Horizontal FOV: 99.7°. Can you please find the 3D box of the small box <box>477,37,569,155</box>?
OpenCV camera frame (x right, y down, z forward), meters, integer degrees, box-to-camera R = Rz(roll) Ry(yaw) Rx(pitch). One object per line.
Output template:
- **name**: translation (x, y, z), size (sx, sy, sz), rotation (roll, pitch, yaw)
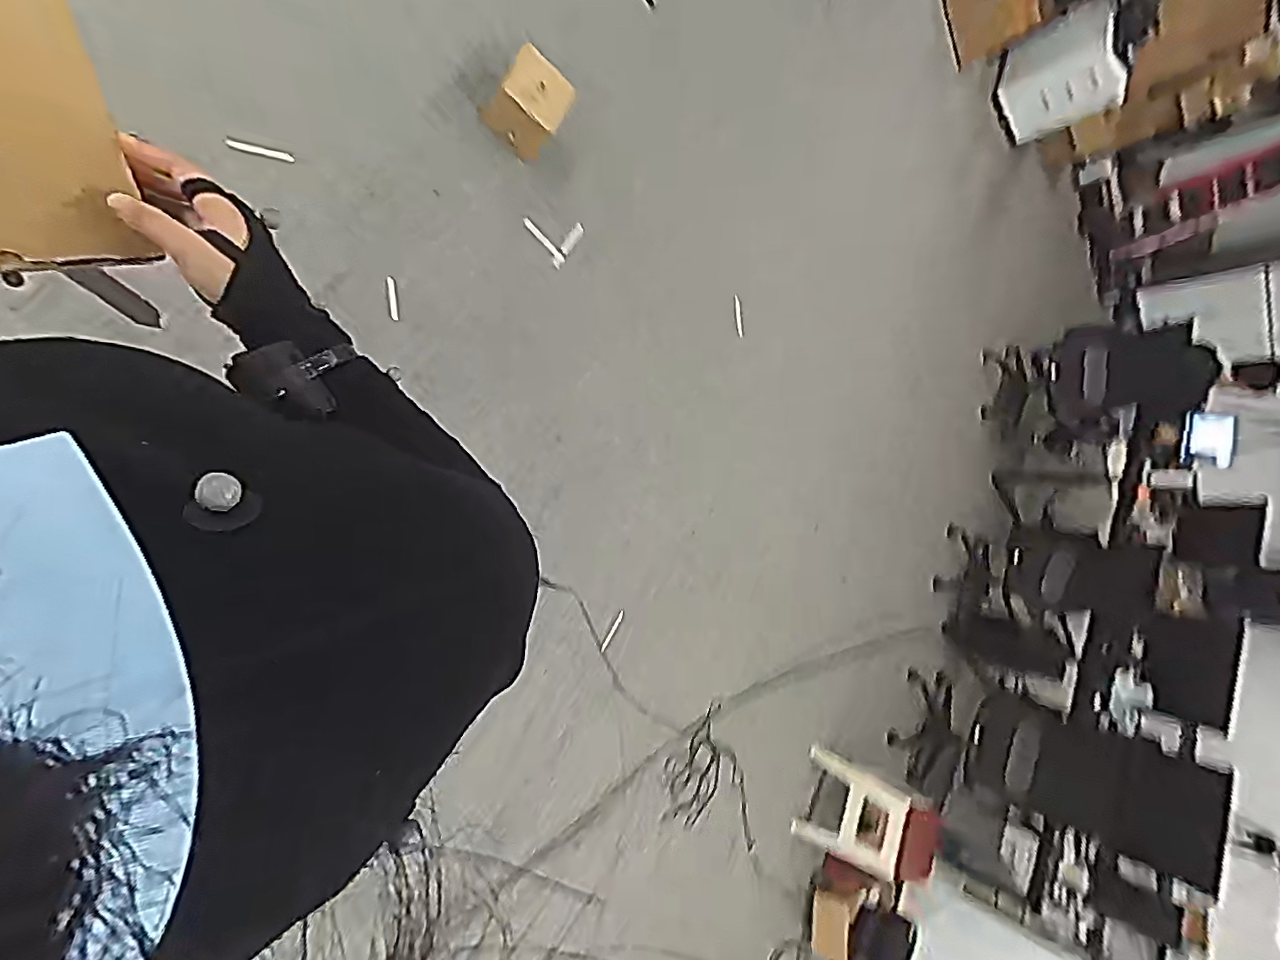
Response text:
- **small box**: translation (-0.334, -1.072, 1.526), size (0.168, 0.176, 0.179), rotation (29, 75, -34)
